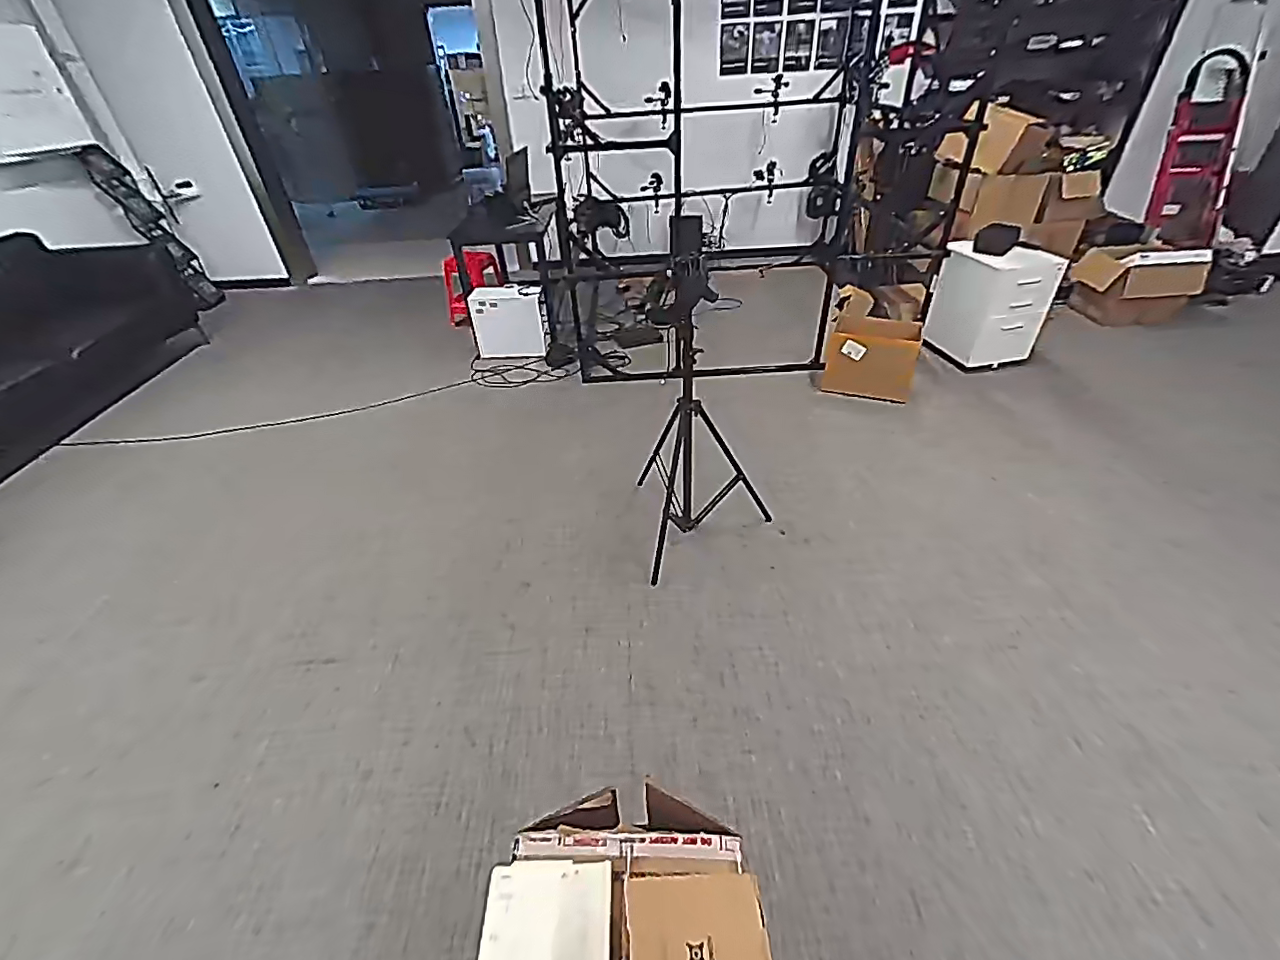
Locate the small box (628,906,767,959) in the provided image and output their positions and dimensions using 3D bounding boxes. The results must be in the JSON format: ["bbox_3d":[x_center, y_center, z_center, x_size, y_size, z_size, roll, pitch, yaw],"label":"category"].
[{"bbox_3d":[0.074,0.682,0.706,0.179,0.176,0.168,-3,39,-1],"label":"small box"}]
